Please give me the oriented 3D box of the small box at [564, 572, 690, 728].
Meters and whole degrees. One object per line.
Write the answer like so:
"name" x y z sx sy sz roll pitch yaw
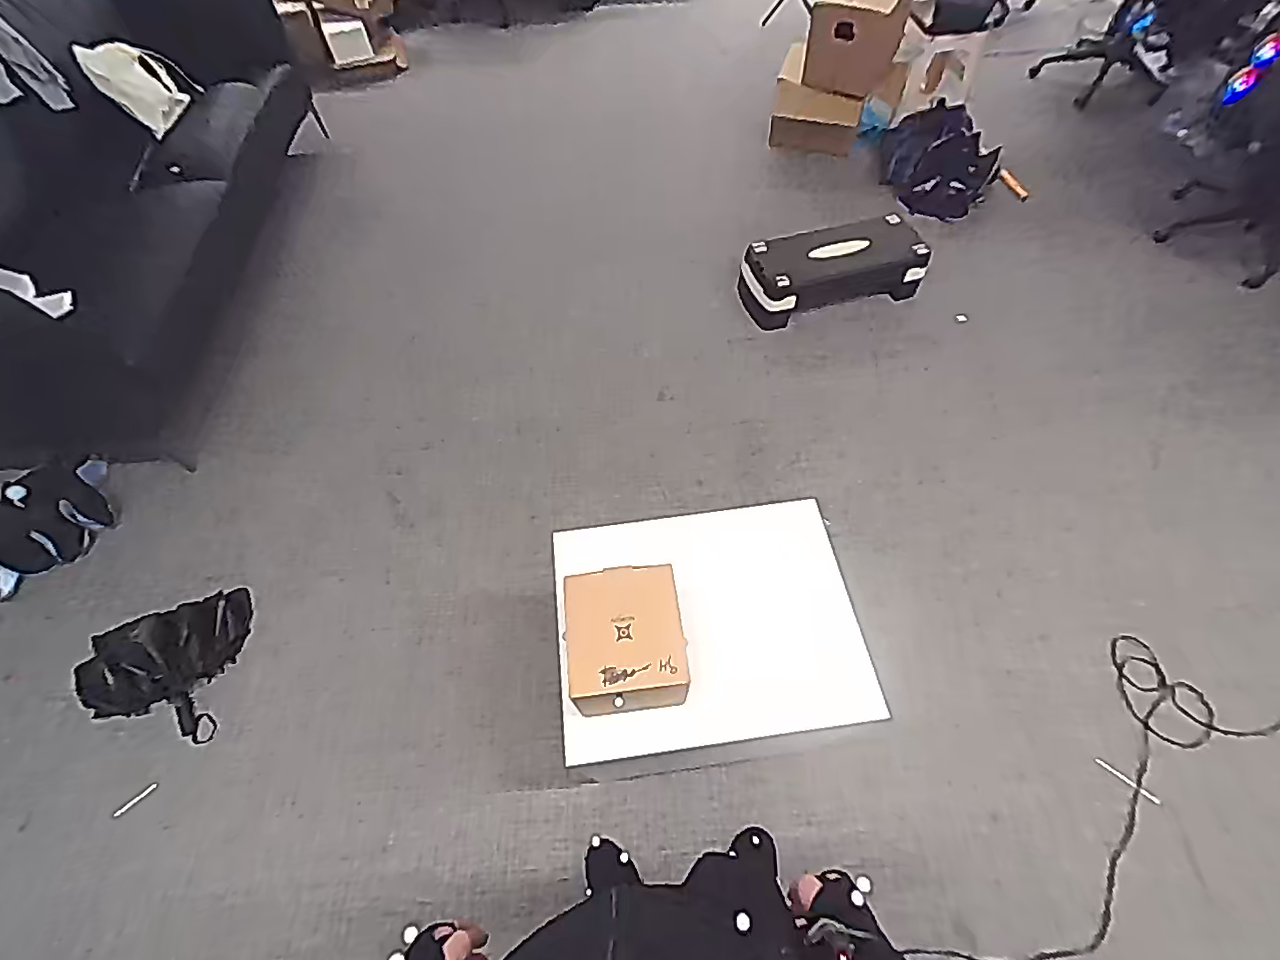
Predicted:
"small box" -0.023 0.262 0.827 0.168 0.176 0.179 -7 57 -4
